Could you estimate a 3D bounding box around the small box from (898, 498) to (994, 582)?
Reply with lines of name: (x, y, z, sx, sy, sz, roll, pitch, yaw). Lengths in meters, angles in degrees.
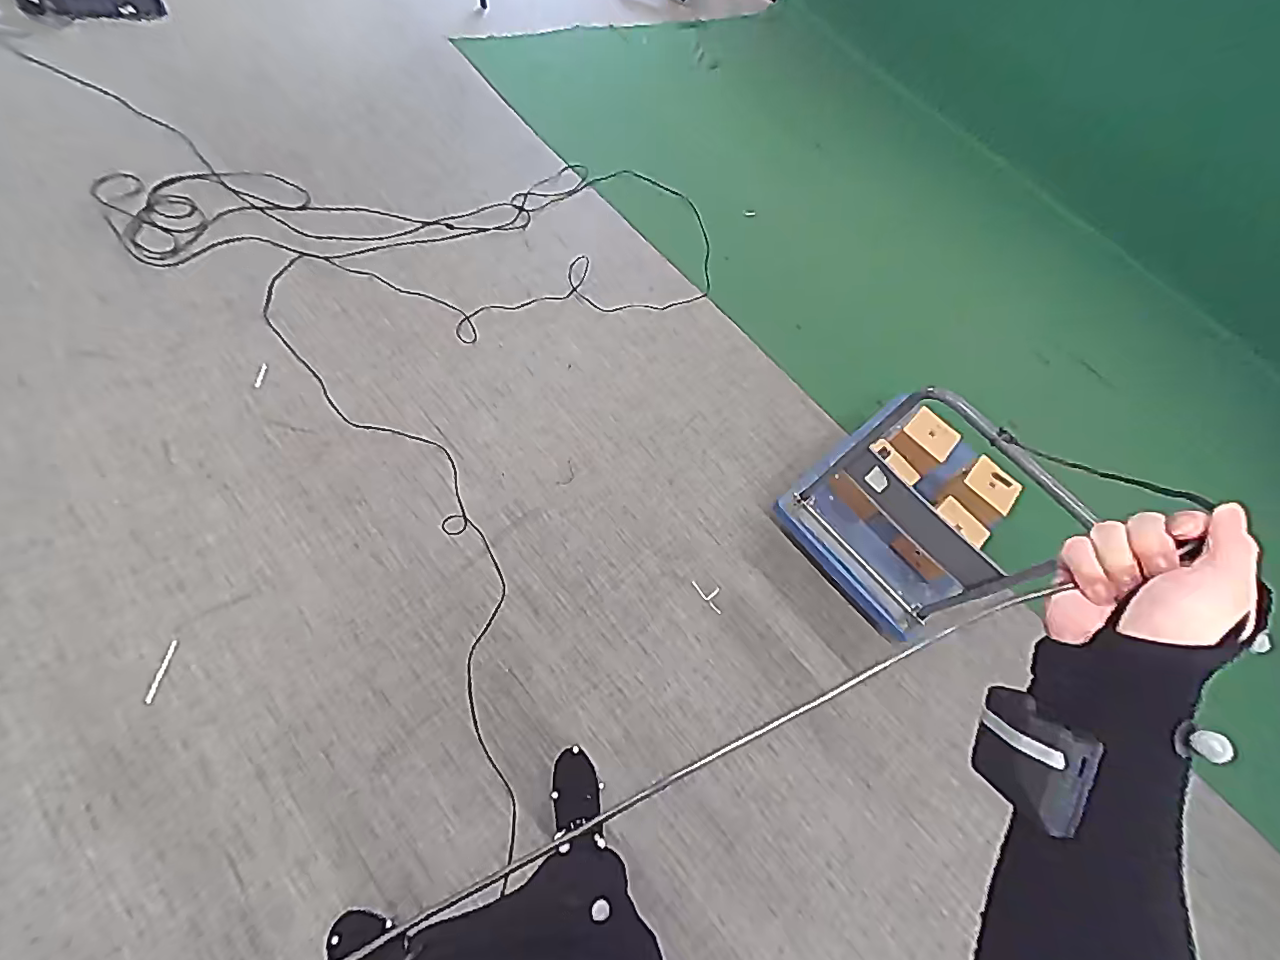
small box: (0.959, 0.193, 1.710, 0.179, 0.176, 0.168, -34, 74, -28)

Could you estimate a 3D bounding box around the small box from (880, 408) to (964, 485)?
small box: (0.978, -0.112, 1.892, 0.168, 0.176, 0.179, 45, 59, 11)

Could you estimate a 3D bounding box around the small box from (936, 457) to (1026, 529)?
small box: (1.154, 0.060, 1.841, 0.168, 0.176, 0.179, 44, 60, 13)
